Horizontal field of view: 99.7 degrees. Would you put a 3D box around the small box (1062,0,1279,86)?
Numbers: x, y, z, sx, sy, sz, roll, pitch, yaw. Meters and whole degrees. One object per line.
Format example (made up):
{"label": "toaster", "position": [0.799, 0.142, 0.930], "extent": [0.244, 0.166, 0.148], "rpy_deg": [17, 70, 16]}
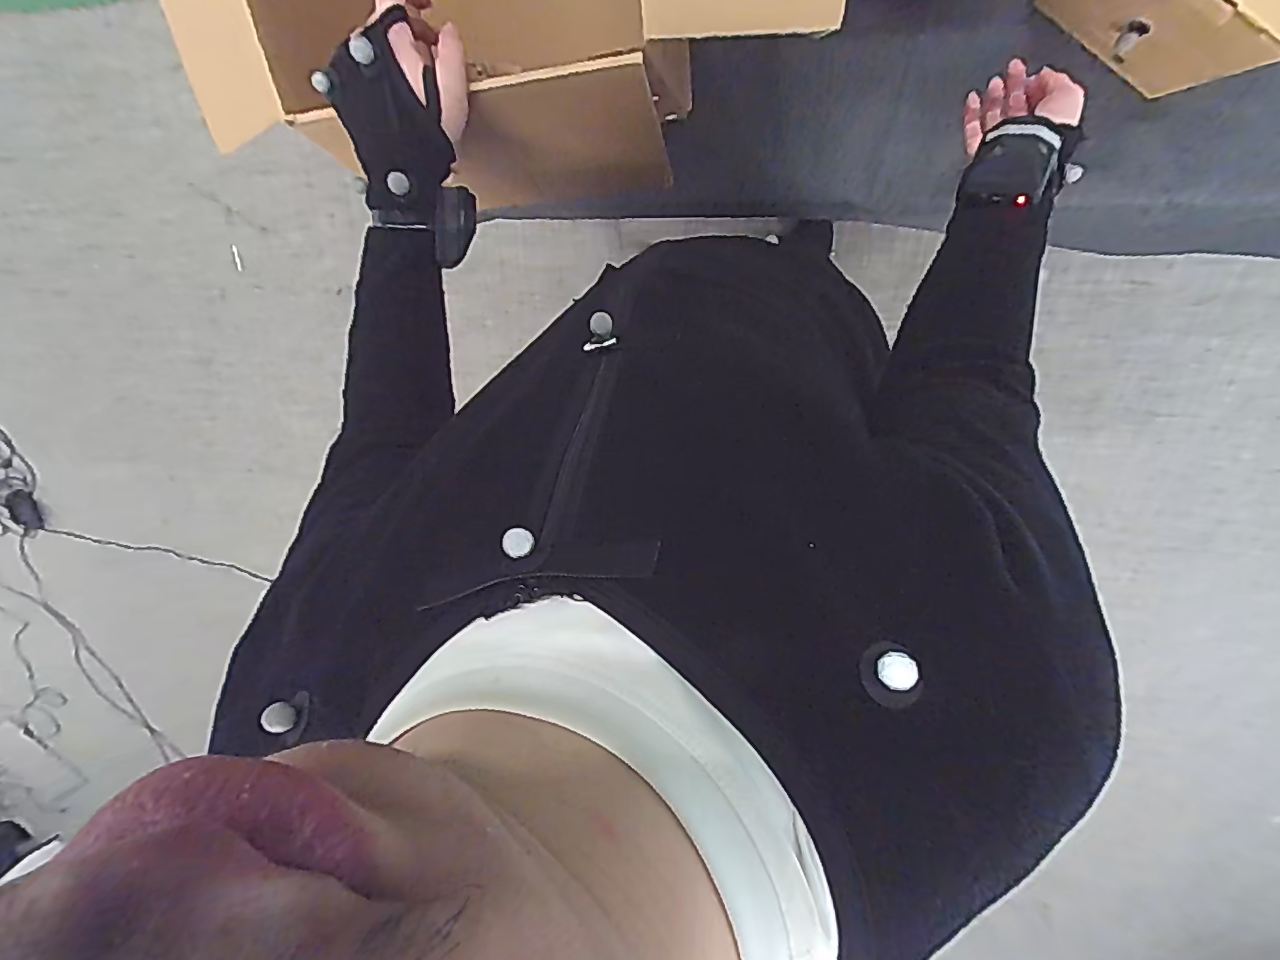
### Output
{"label": "small box", "position": [0.500, -0.471, 0.446], "extent": [0.168, 0.176, 0.179], "rpy_deg": [34, 119, -6]}
